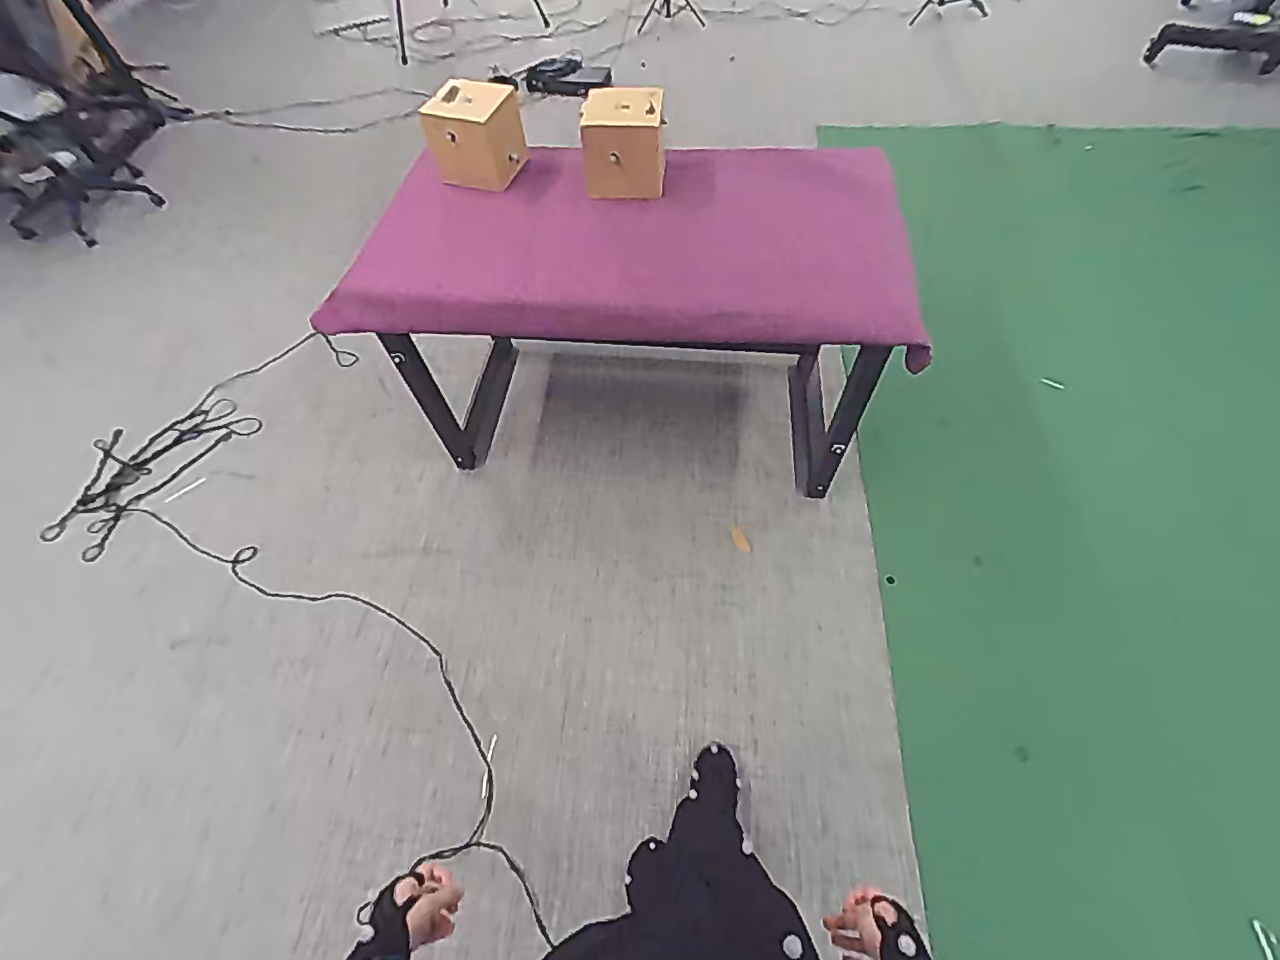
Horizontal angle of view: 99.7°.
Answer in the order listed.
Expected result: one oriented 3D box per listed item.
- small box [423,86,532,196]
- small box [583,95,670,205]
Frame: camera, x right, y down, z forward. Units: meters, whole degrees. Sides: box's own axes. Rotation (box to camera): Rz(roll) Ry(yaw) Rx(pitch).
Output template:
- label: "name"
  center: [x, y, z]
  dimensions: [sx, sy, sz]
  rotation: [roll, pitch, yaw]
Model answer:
- label: "small box"
  center: [-0.388, -0.827, 1.324]
  dimensions: [0.179, 0.176, 0.168]
  rotation: [15, 61, 11]
- label: "small box"
  center: [-0.025, -0.774, 1.274]
  dimensions: [0.179, 0.176, 0.168]
  rotation: [3, 60, 6]
